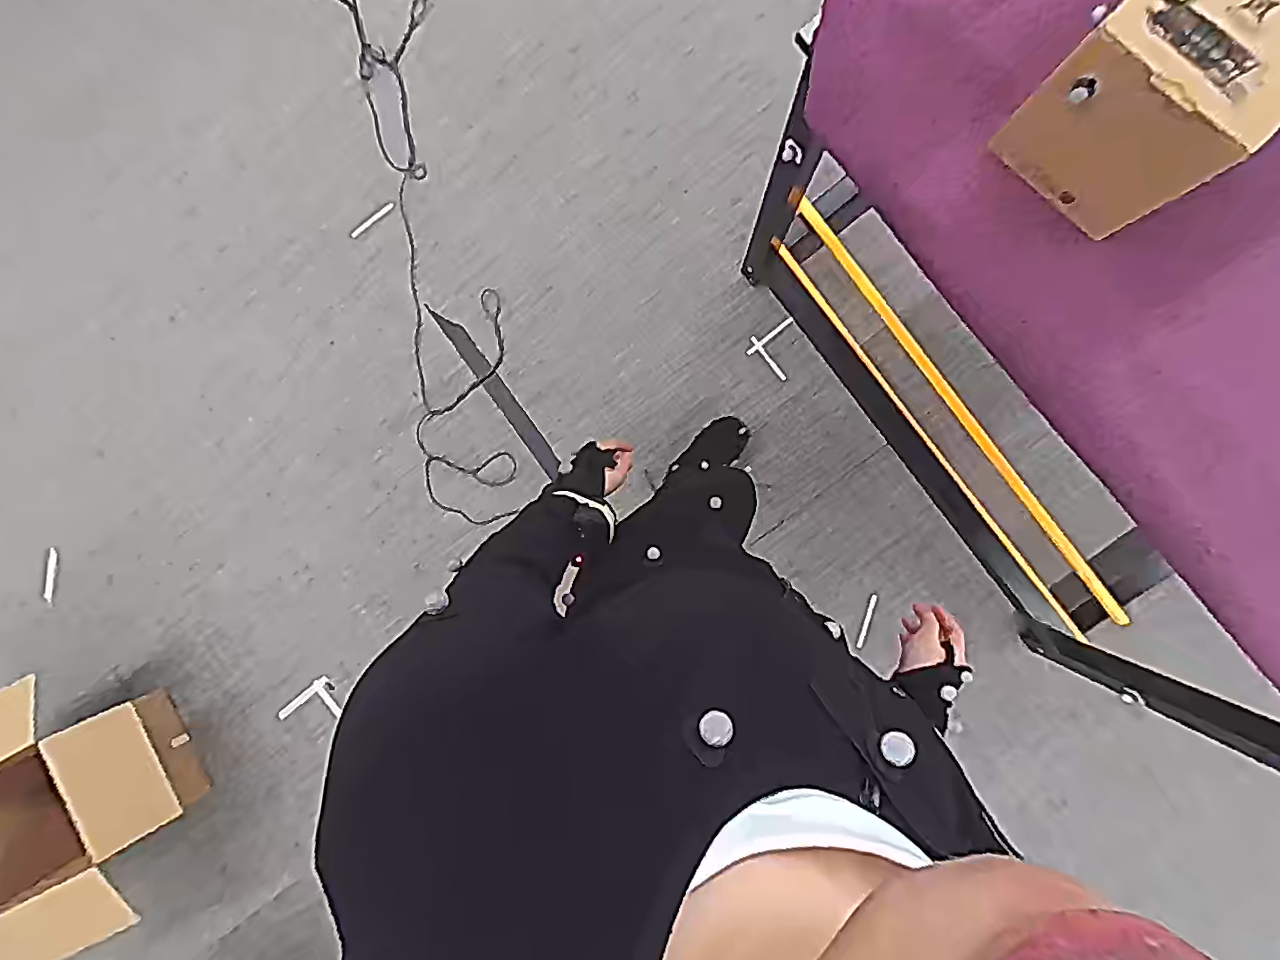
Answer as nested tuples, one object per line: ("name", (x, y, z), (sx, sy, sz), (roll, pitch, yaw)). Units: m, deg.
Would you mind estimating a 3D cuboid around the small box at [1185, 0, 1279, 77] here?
("small box", (0.697, -0.539, 0.516), (0.168, 0.176, 0.179), (-40, 89, 3))
